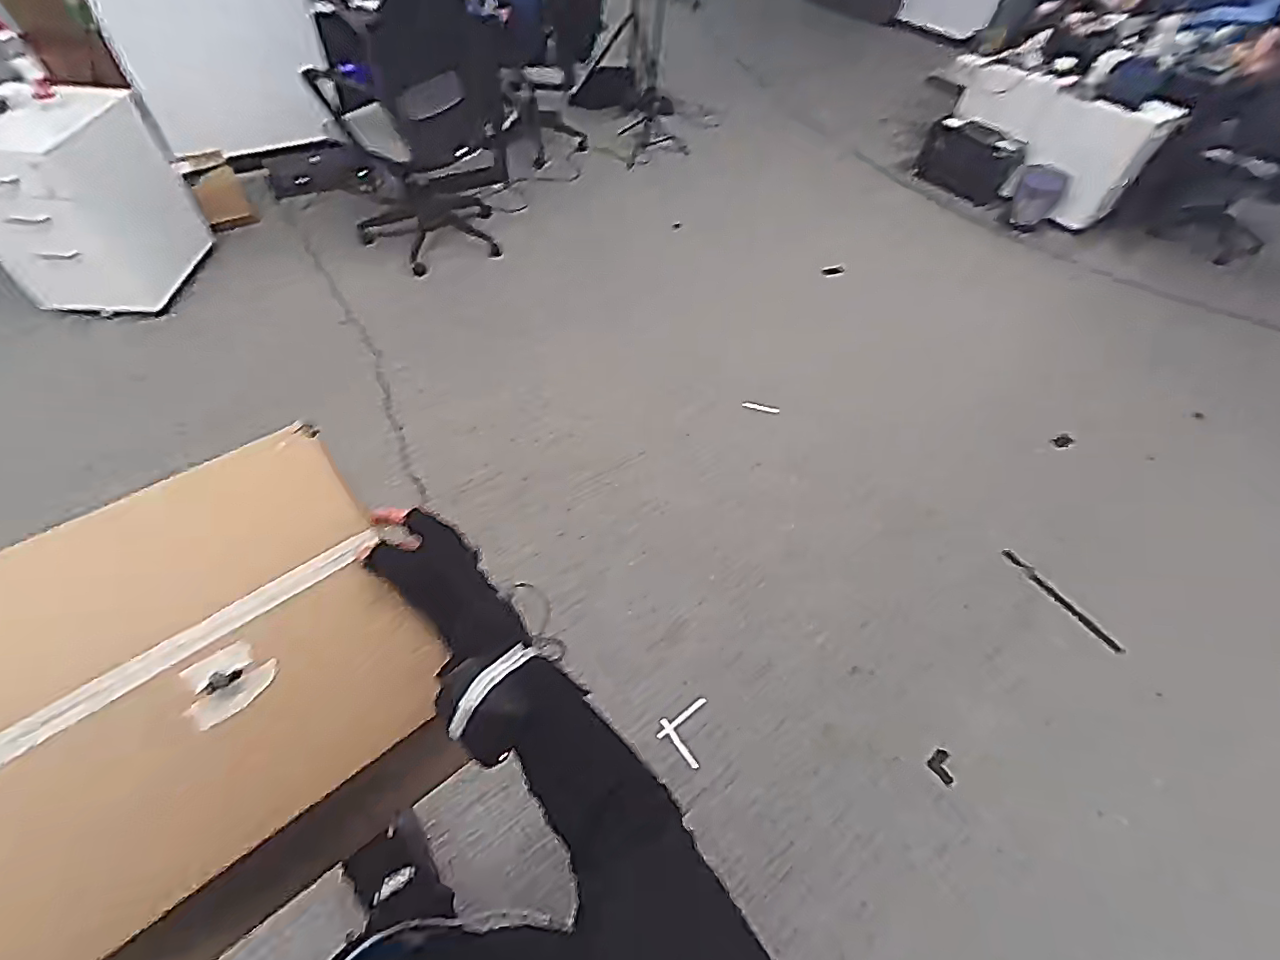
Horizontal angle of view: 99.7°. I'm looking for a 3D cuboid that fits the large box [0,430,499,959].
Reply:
[{"bbox_3d":[-0.398,0.229,0.530,0.408,0.320,0.320,-32,70,-26],"label":"large box"}]
